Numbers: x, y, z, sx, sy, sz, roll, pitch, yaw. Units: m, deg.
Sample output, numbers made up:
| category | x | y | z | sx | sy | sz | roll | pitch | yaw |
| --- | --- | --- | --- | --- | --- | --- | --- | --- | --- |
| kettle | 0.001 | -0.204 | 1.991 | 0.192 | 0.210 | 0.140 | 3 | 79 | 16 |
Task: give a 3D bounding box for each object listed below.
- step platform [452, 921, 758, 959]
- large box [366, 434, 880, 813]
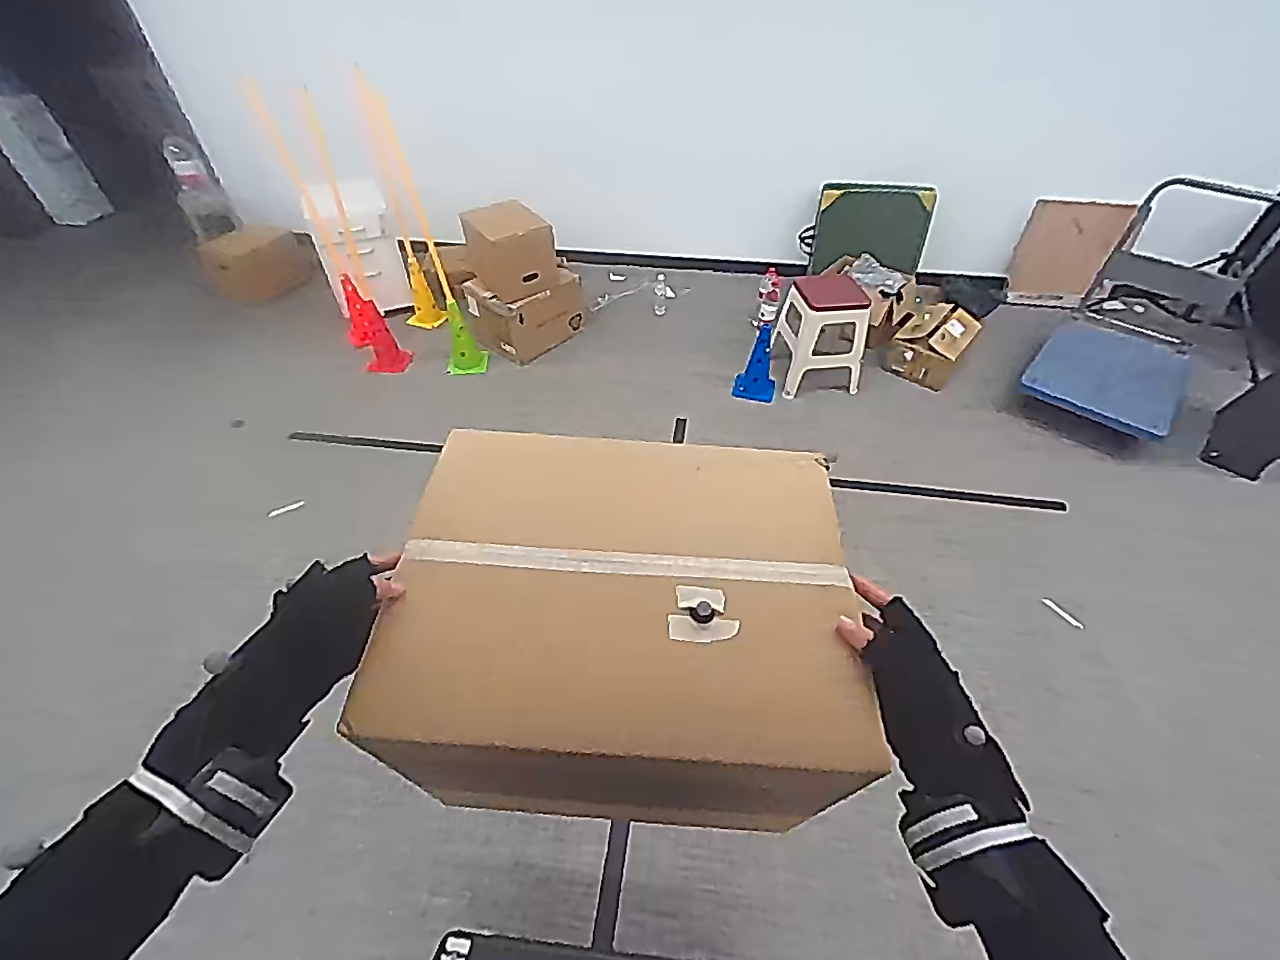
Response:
| category | x | y | z | sx | sy | sz | roll | pitch | yaw |
| --- | --- | --- | --- | --- | --- | --- | --- | --- | --- |
| step platform | -0.070 | 1.110 | 1.091 | 0.684 | 0.204 | 0.286 | 5 | 47 | 3 |
| large box | -0.014 | 0.171 | 0.618 | 0.408 | 0.320 | 0.320 | 4 | 51 | 0 |
